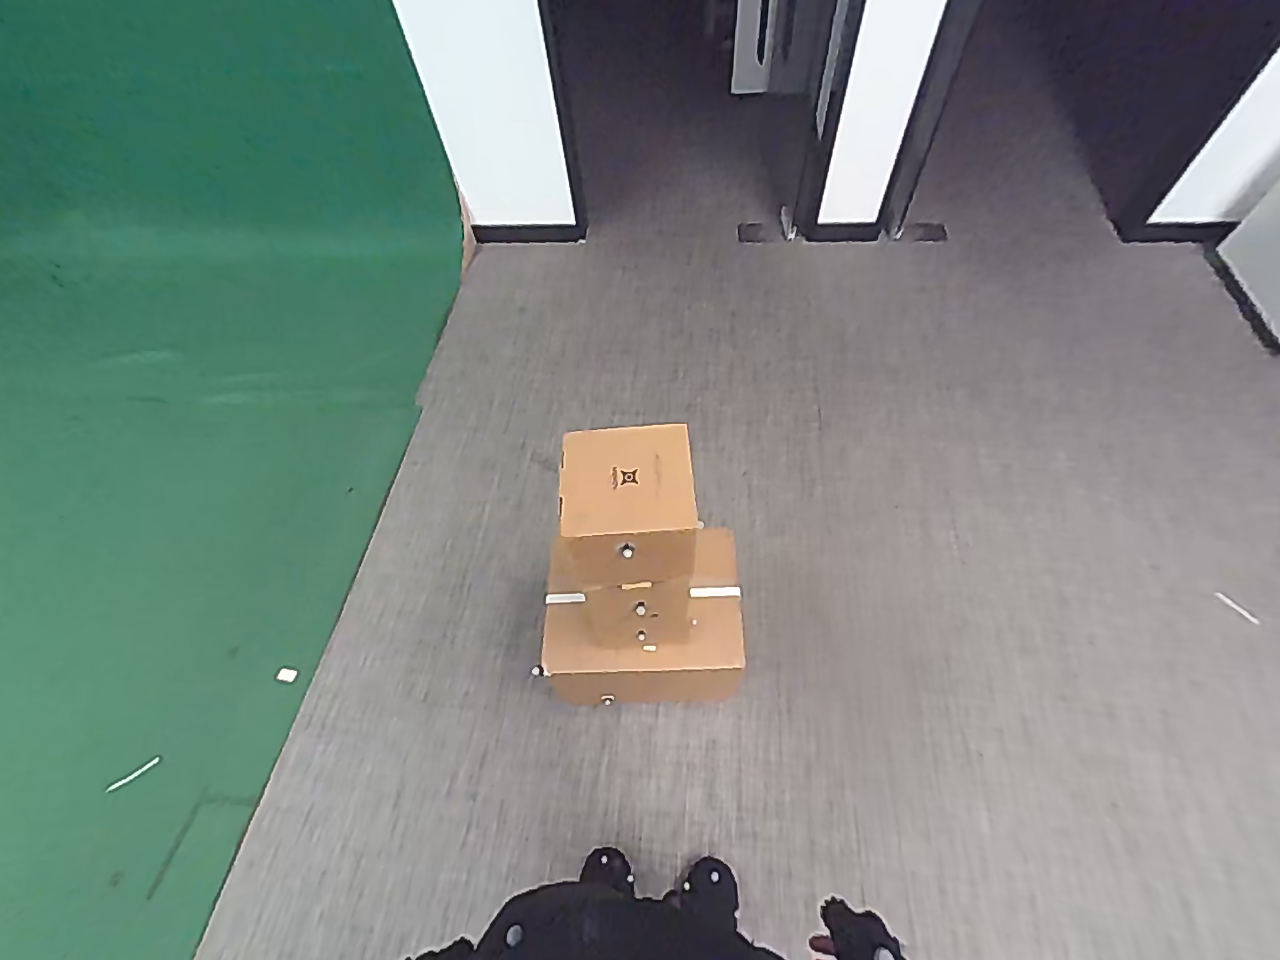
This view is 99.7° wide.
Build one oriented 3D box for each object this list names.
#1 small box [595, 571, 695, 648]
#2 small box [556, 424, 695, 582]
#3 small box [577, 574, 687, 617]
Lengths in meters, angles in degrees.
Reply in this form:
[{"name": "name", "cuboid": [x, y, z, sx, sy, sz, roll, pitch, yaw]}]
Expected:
[{"name": "small box", "cuboid": [0.005, 0.216, 1.046, 0.179, 0.176, 0.168, -7, 58, -1]}, {"name": "small box", "cuboid": [-0.016, 0.039, 0.773, 0.179, 0.176, 0.168, -4, 59, 1]}, {"name": "small box", "cuboid": [-0.010, 0.125, 0.911, 0.168, 0.176, 0.179, -5, 58, 1]}]
